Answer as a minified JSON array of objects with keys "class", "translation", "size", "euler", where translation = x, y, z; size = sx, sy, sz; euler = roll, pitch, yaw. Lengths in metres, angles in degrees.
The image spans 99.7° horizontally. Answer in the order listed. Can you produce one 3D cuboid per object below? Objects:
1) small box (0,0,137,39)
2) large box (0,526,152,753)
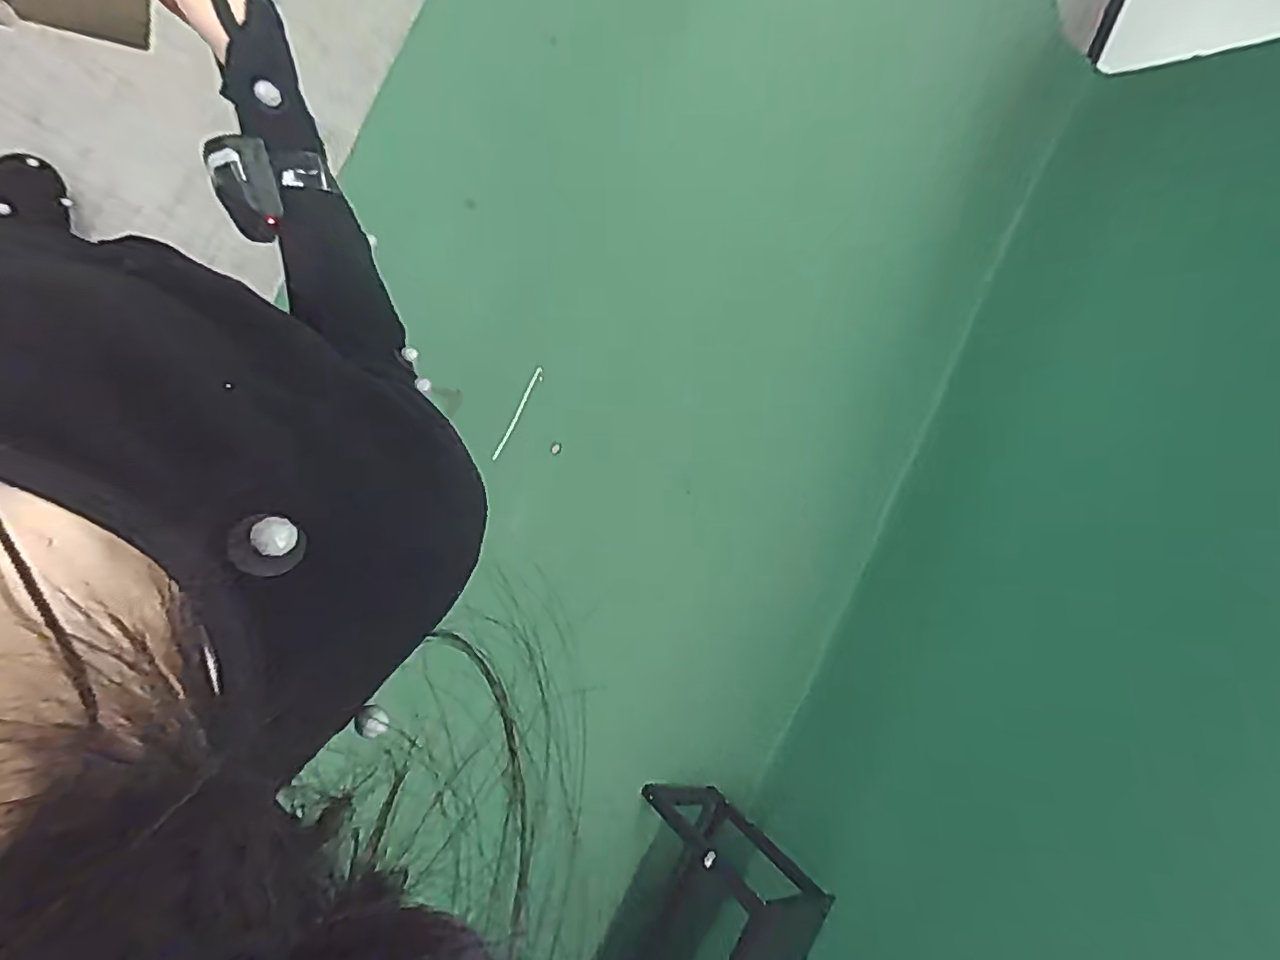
[{"class":"small box","translation":[-0.453,-0.426,0.347],"size":[0.179,0.176,0.168],"euler":[-13,111,-40]},{"class":"large box","translation":[-1.170,0.272,0.971],"size":[0.408,0.320,0.320],"euler":[8,100,-42]}]
